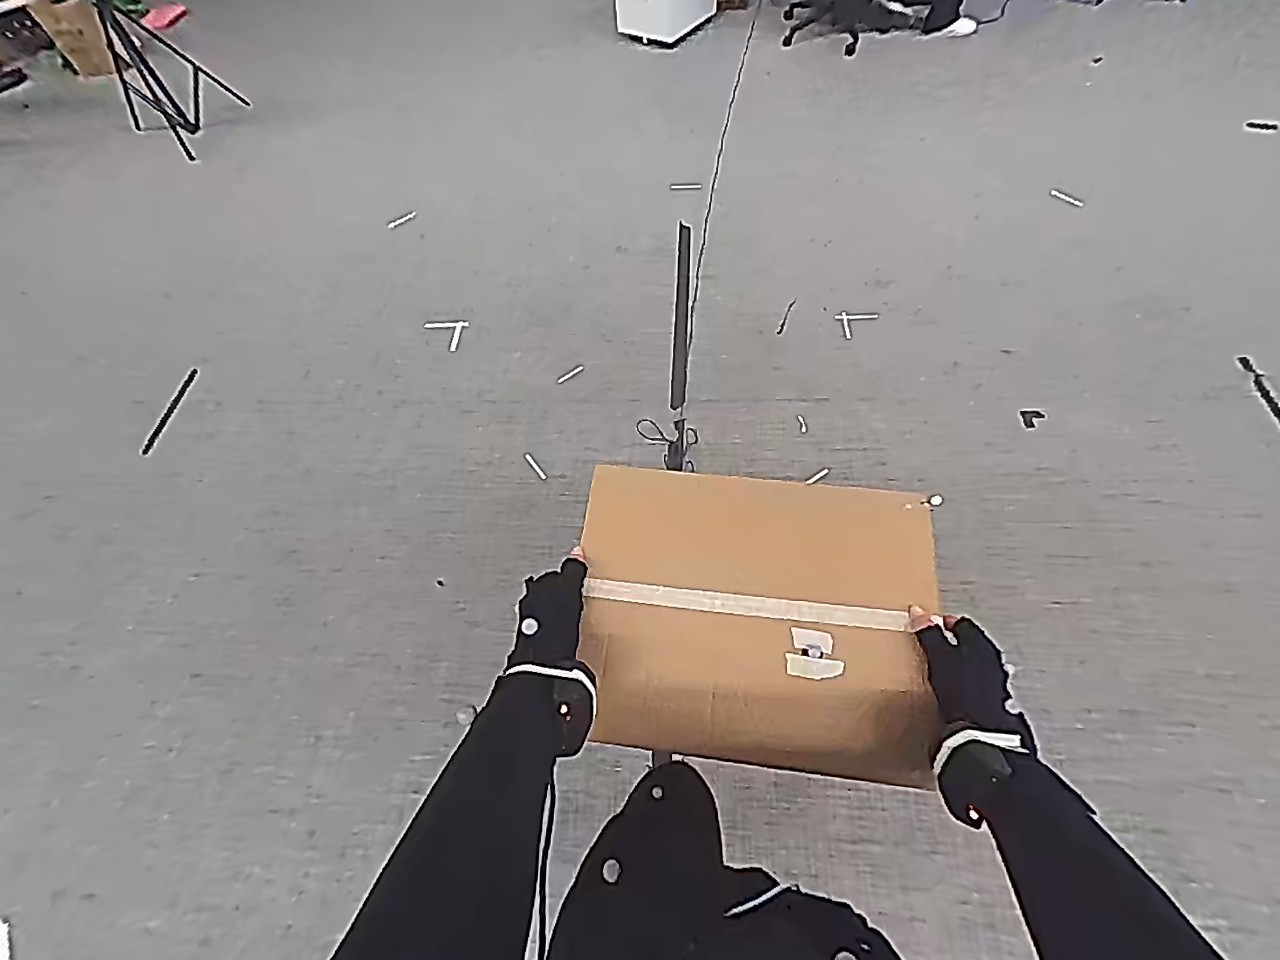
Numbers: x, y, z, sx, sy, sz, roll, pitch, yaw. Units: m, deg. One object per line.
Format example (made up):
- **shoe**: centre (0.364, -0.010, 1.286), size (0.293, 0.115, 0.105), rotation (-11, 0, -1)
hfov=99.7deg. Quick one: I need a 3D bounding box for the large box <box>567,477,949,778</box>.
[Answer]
- **large box**: centre (0.138, 0.210, 0.756), size (0.408, 0.320, 0.320), rotation (5, 66, 6)
